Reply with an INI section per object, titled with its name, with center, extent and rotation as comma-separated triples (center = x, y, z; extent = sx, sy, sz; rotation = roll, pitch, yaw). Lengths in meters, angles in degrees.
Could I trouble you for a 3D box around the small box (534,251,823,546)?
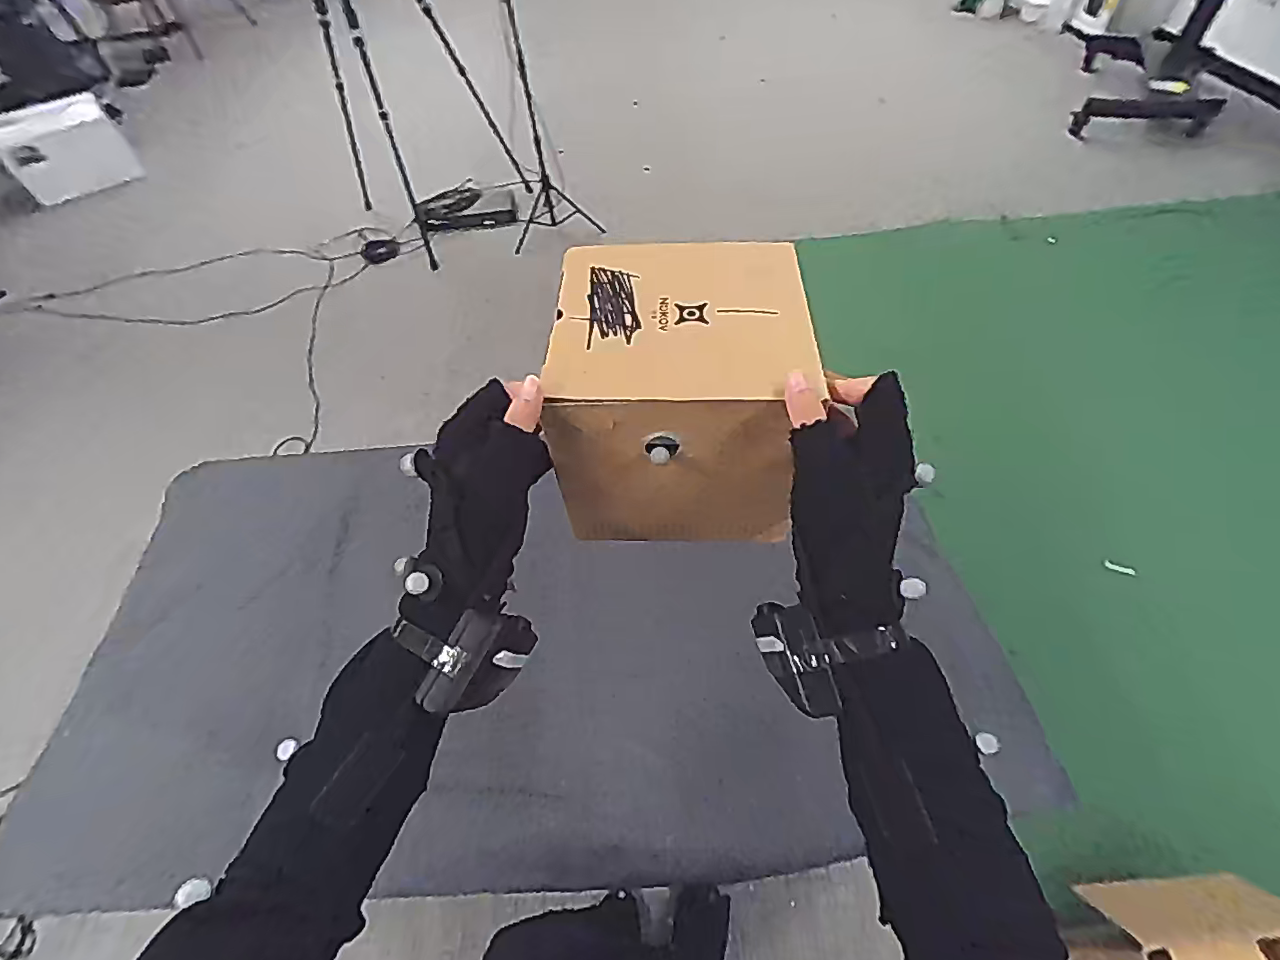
[small box]
center = 0.030, -0.058, 0.430
extent = 0.179, 0.176, 0.168
rotation = 1, 54, 4
